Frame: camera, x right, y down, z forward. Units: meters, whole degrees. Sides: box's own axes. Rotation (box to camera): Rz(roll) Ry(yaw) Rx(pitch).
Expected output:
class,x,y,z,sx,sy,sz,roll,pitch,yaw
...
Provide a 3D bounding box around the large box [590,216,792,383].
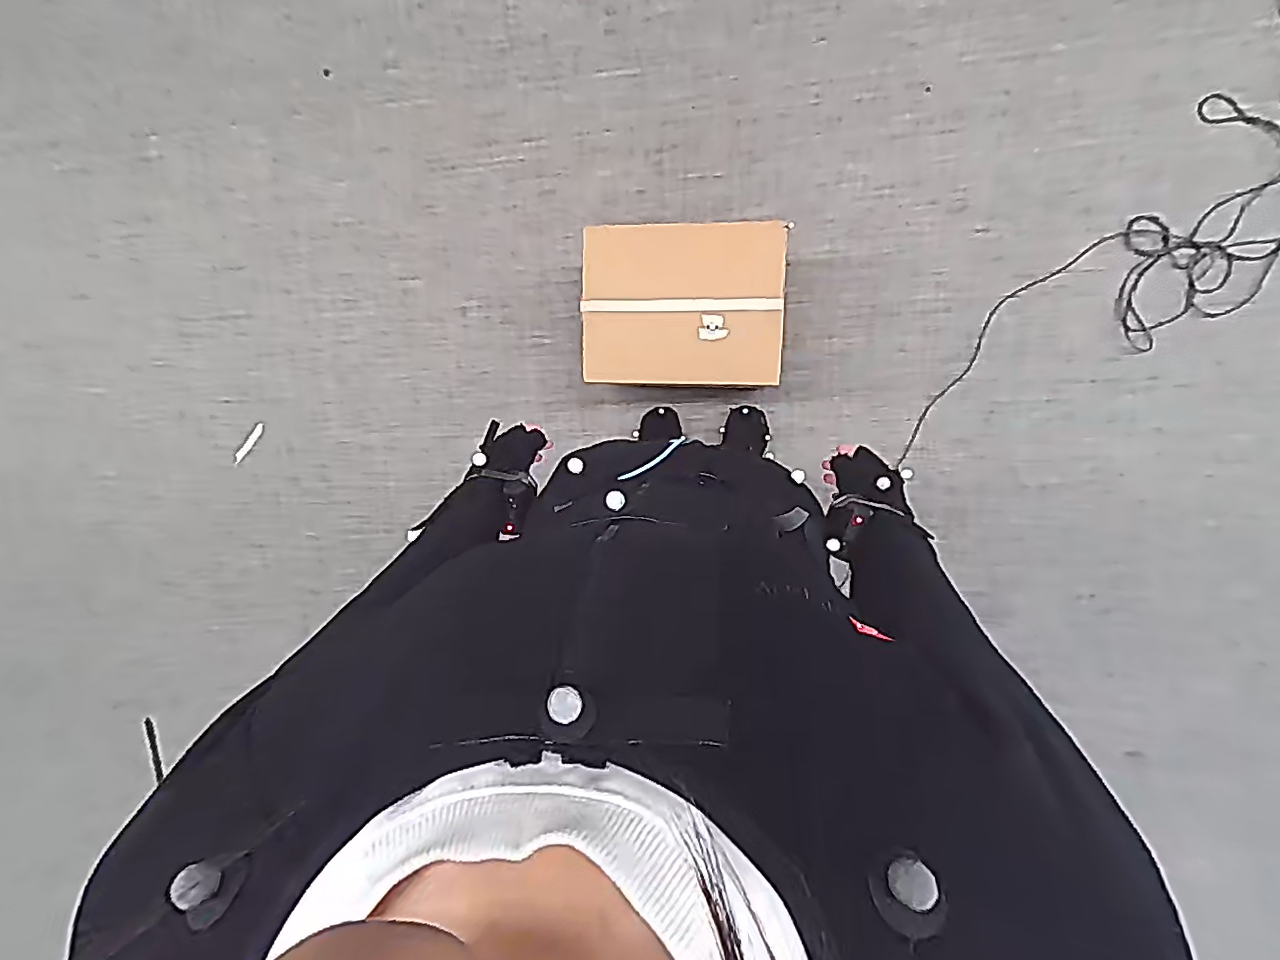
class,x,y,z,sx,sy,sz,roll,pitch,yaw
large box,0.114,-0.383,1.232,0.408,0.320,0.320,2,100,8

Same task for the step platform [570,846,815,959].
class,x,y,z,sx,sy,sz,roll,pitch,yaw
step platform,0.143,1.274,1.549,0.684,0.204,0.286,-1,99,11
